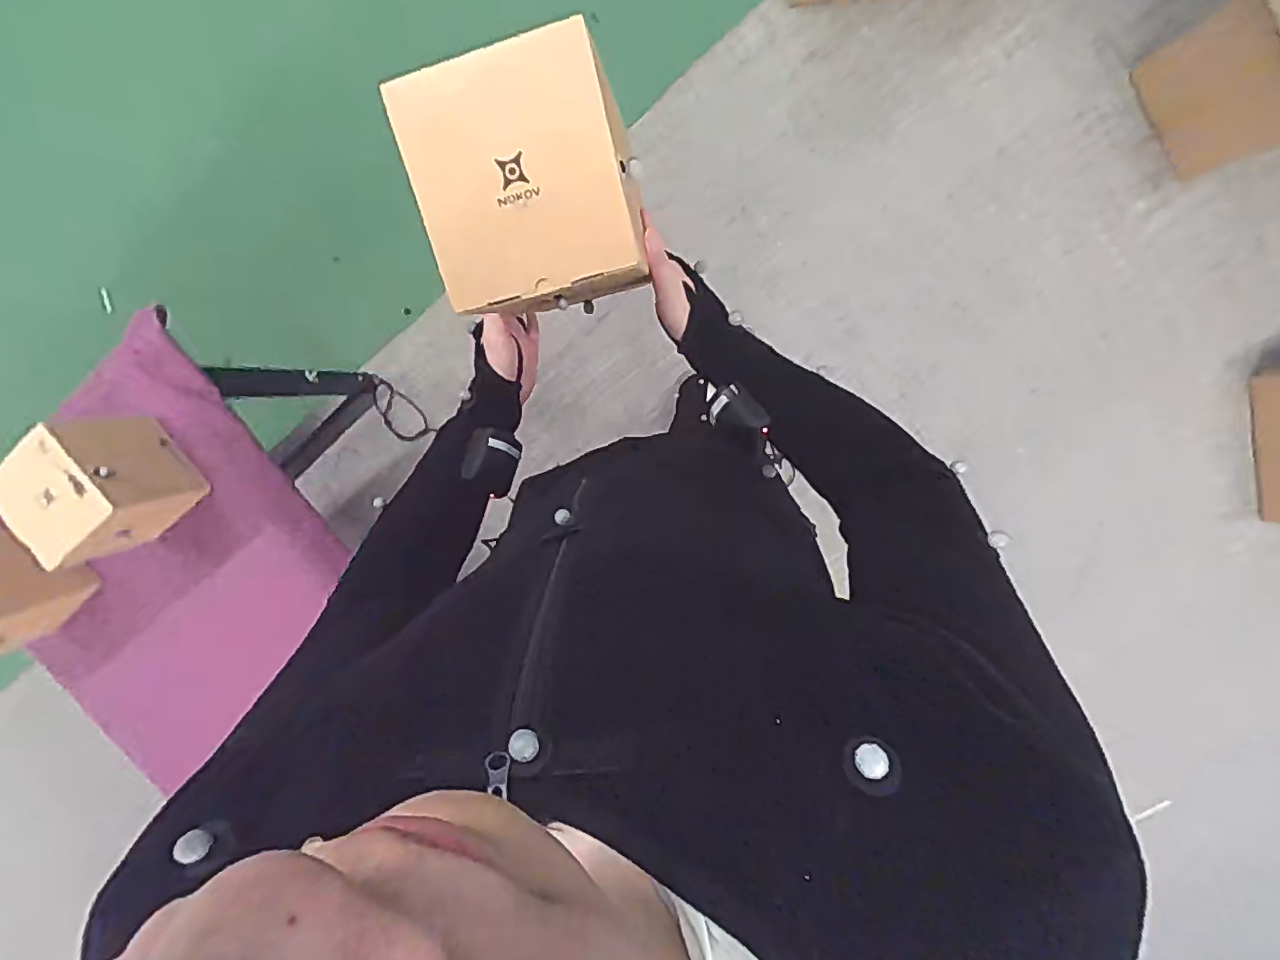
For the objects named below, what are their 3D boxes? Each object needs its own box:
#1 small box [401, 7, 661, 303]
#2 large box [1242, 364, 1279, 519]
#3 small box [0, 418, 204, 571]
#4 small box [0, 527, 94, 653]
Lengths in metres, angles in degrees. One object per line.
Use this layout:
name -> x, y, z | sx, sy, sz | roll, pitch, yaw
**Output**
small box -> -0.078, -0.267, 0.494 | 0.168, 0.176, 0.179 | -11, 108, 8
large box -> 1.758, -0.105, 1.278 | 0.320, 0.320, 0.408 | -14, 97, 7
small box -> -0.886, 0.016, 0.891 | 0.179, 0.176, 0.168 | -36, 96, 13
small box -> -1.138, 0.203, 0.947 | 0.179, 0.176, 0.168 | -39, 97, 10
